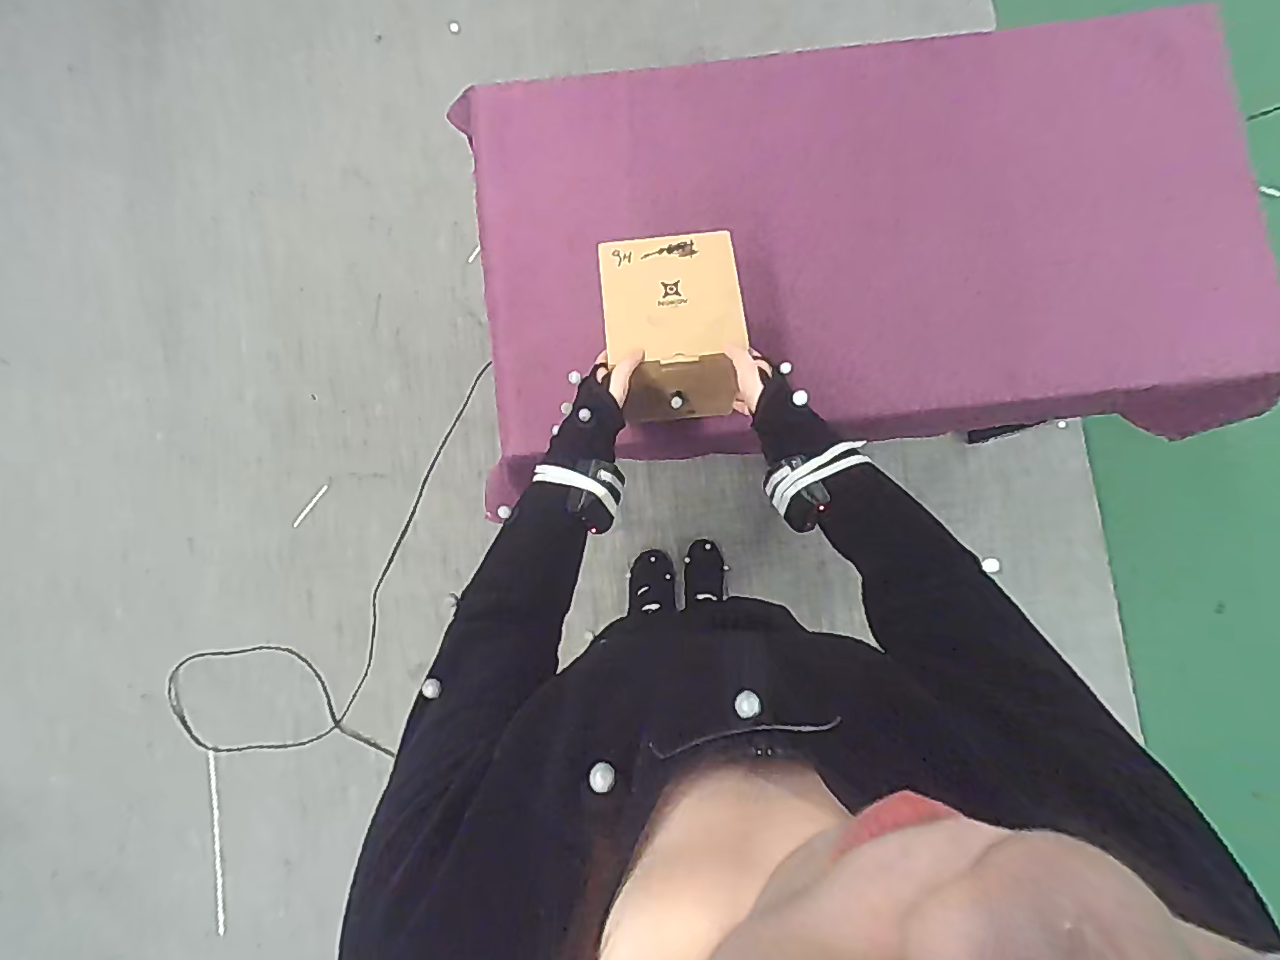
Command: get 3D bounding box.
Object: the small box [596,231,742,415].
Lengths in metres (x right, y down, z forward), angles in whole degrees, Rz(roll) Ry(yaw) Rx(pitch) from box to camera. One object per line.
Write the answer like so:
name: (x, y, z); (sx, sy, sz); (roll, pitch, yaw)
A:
small box: (0.035, -0.196, 0.721); (0.168, 0.176, 0.179); (-5, 73, 1)
